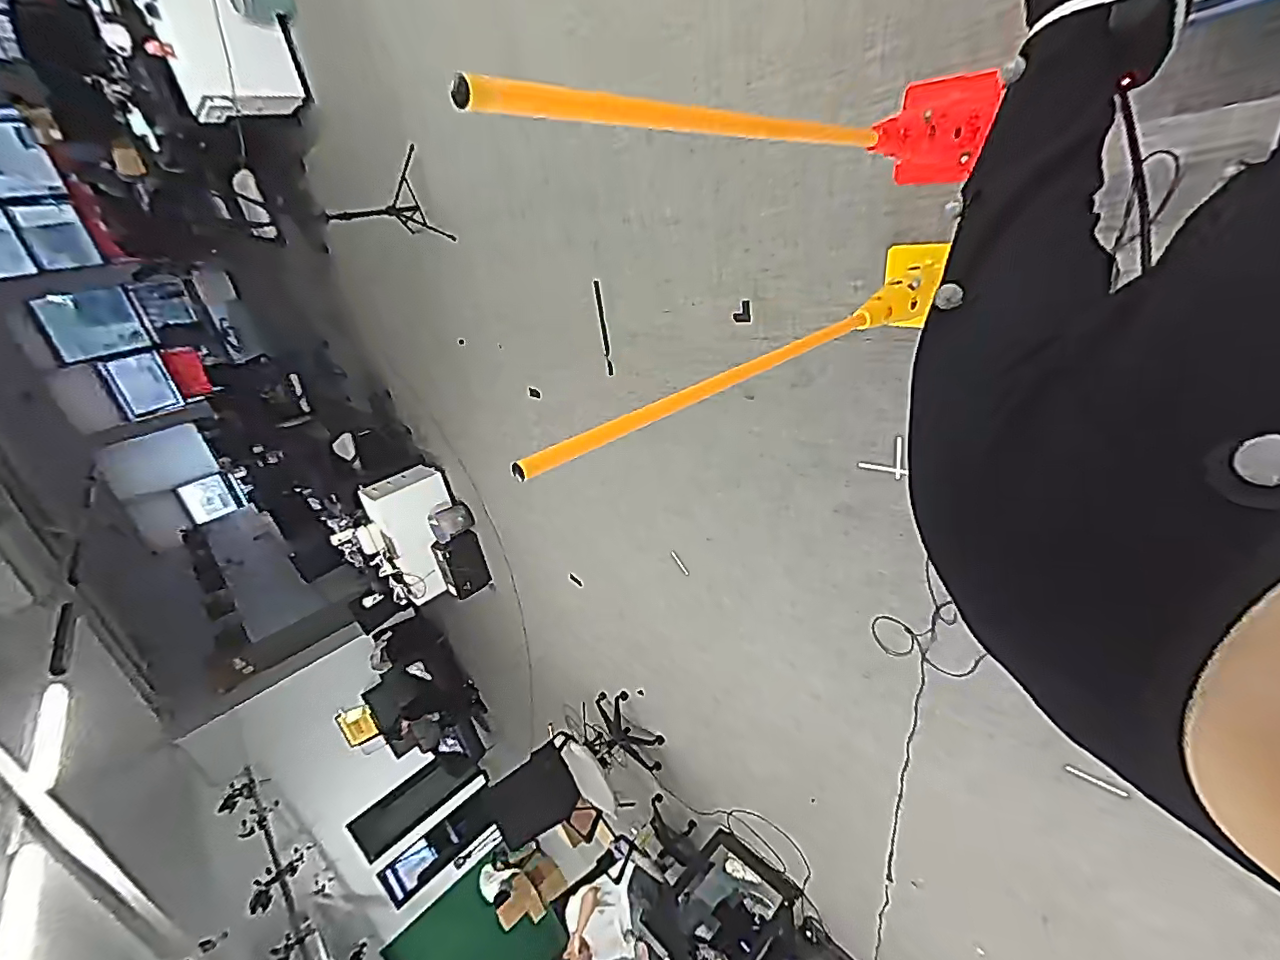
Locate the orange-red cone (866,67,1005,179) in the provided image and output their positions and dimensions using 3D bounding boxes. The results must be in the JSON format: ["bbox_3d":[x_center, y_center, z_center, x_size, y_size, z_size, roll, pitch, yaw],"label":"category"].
[{"bbox_3d":[0.550,-0.707,1.085,0.198,0.360,0.199,24,130,39],"label":"orange-red cone"}]
